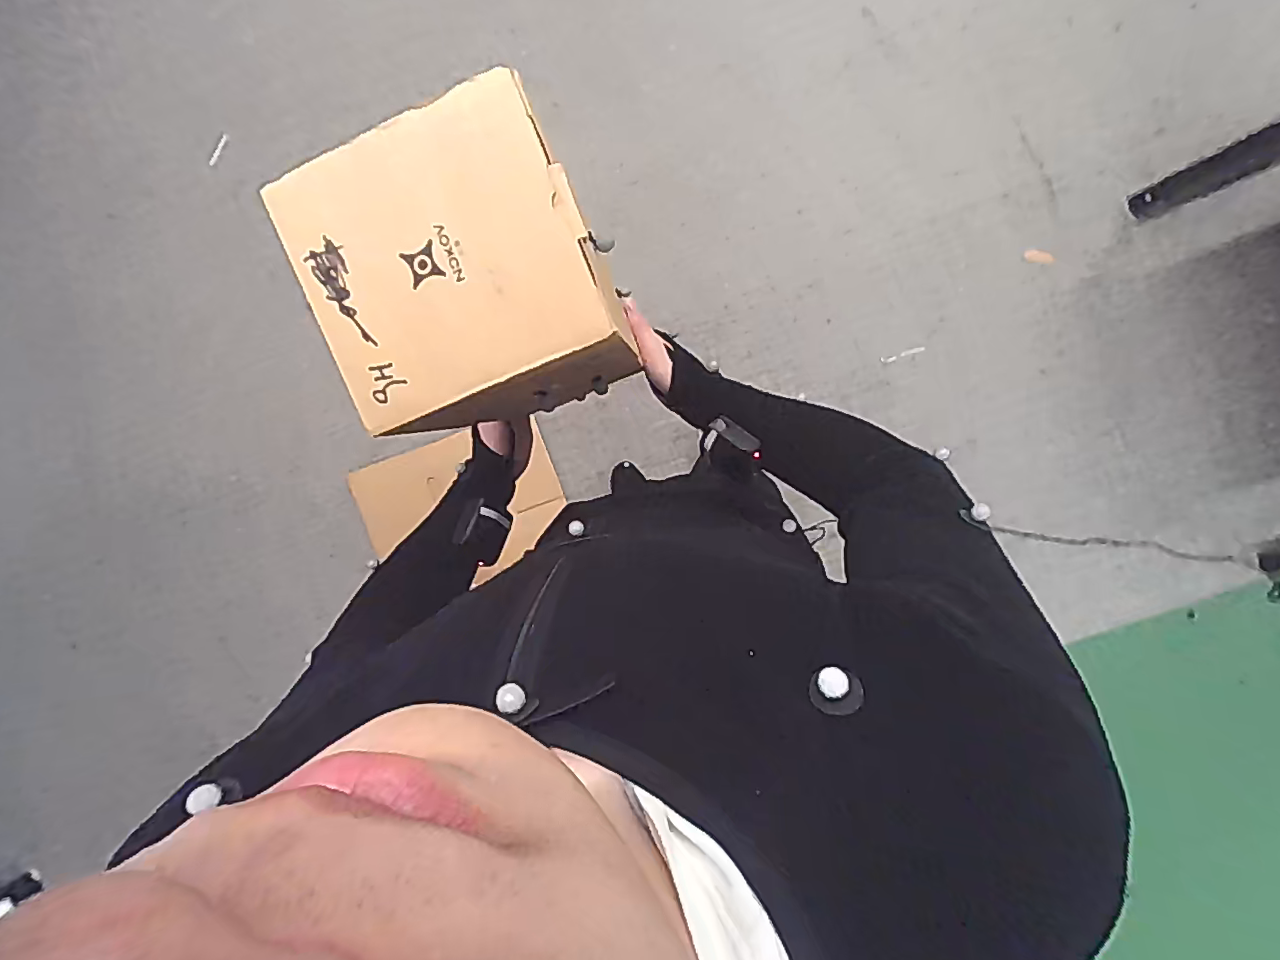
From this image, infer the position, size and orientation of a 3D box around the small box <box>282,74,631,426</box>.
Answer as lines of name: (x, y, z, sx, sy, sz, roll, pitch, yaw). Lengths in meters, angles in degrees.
small box: (-0.112, -0.149, 0.415, 0.179, 0.176, 0.168, -20, 95, 7)

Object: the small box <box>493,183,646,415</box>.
small box: (-0.098, -0.176, 0.577, 0.179, 0.176, 0.168, -19, 96, 8)

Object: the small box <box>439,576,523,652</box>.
small box: (-0.461, 0.401, 1.591, 0.168, 0.176, 0.179, -16, 92, 3)
